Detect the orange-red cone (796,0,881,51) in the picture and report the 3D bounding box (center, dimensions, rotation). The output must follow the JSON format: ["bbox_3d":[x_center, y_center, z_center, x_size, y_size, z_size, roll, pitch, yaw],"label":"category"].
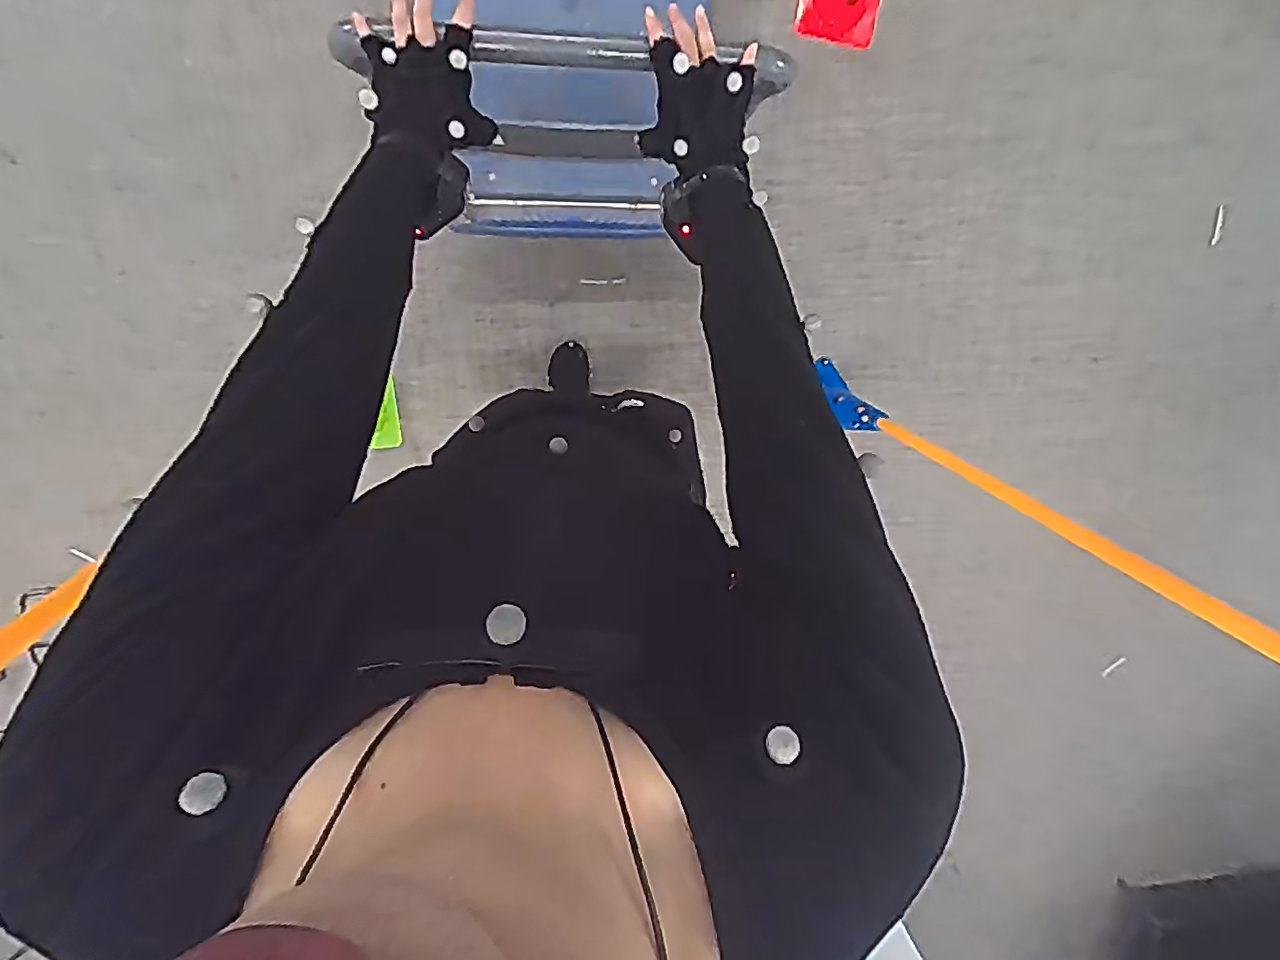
[{"bbox_3d":[0.500,-1.119,1.136,0.198,0.360,0.199,8,103,-7],"label":"orange-red cone"}]
